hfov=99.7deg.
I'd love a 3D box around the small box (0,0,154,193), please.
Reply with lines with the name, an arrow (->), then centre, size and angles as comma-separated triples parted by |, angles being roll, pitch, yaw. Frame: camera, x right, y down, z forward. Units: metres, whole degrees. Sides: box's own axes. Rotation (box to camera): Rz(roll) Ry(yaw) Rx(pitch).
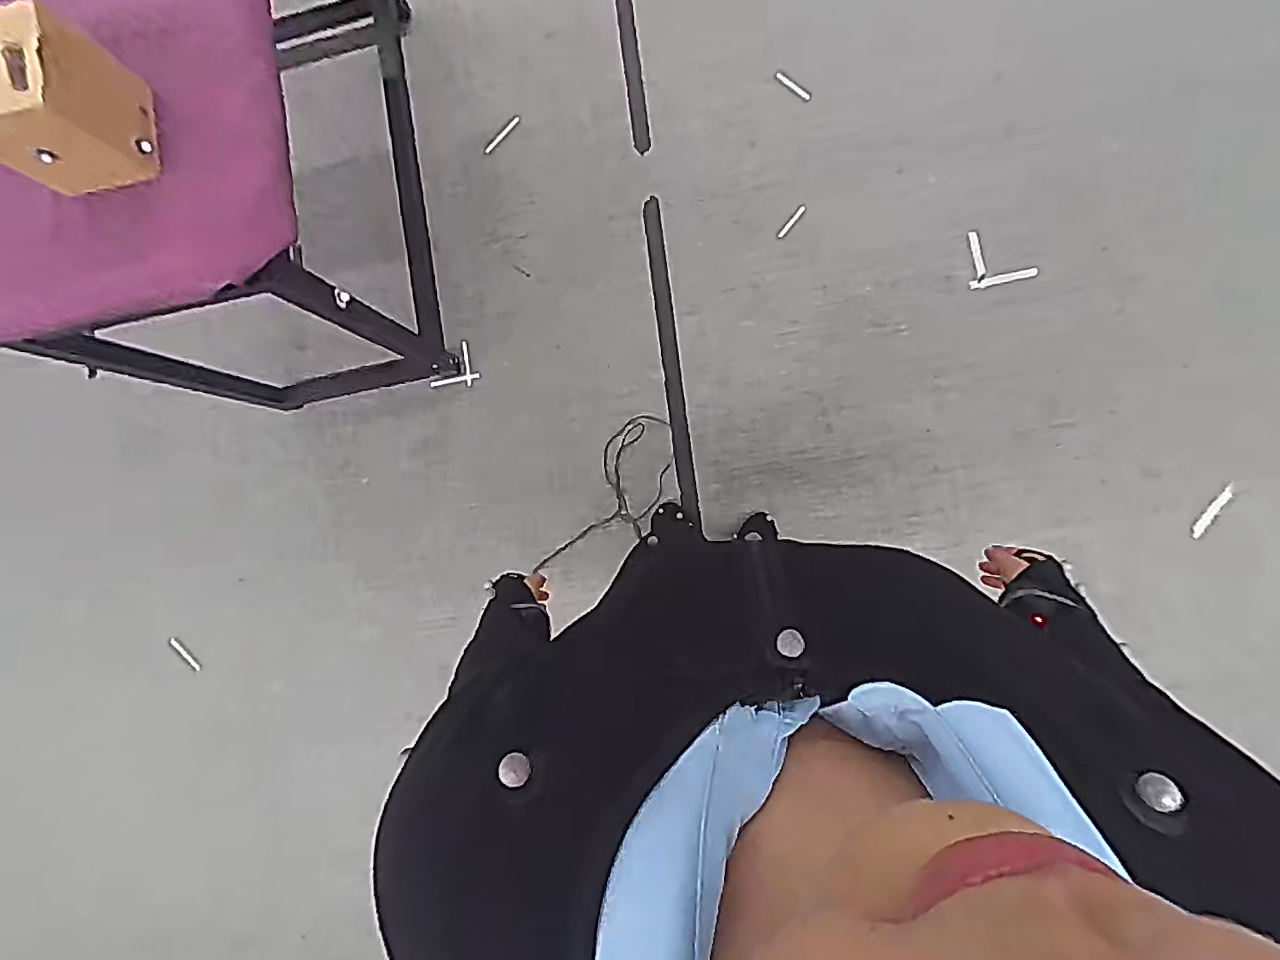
small box -> -0.912, -0.585, 0.846 | 0.179, 0.176, 0.168 | -9, 86, 6
